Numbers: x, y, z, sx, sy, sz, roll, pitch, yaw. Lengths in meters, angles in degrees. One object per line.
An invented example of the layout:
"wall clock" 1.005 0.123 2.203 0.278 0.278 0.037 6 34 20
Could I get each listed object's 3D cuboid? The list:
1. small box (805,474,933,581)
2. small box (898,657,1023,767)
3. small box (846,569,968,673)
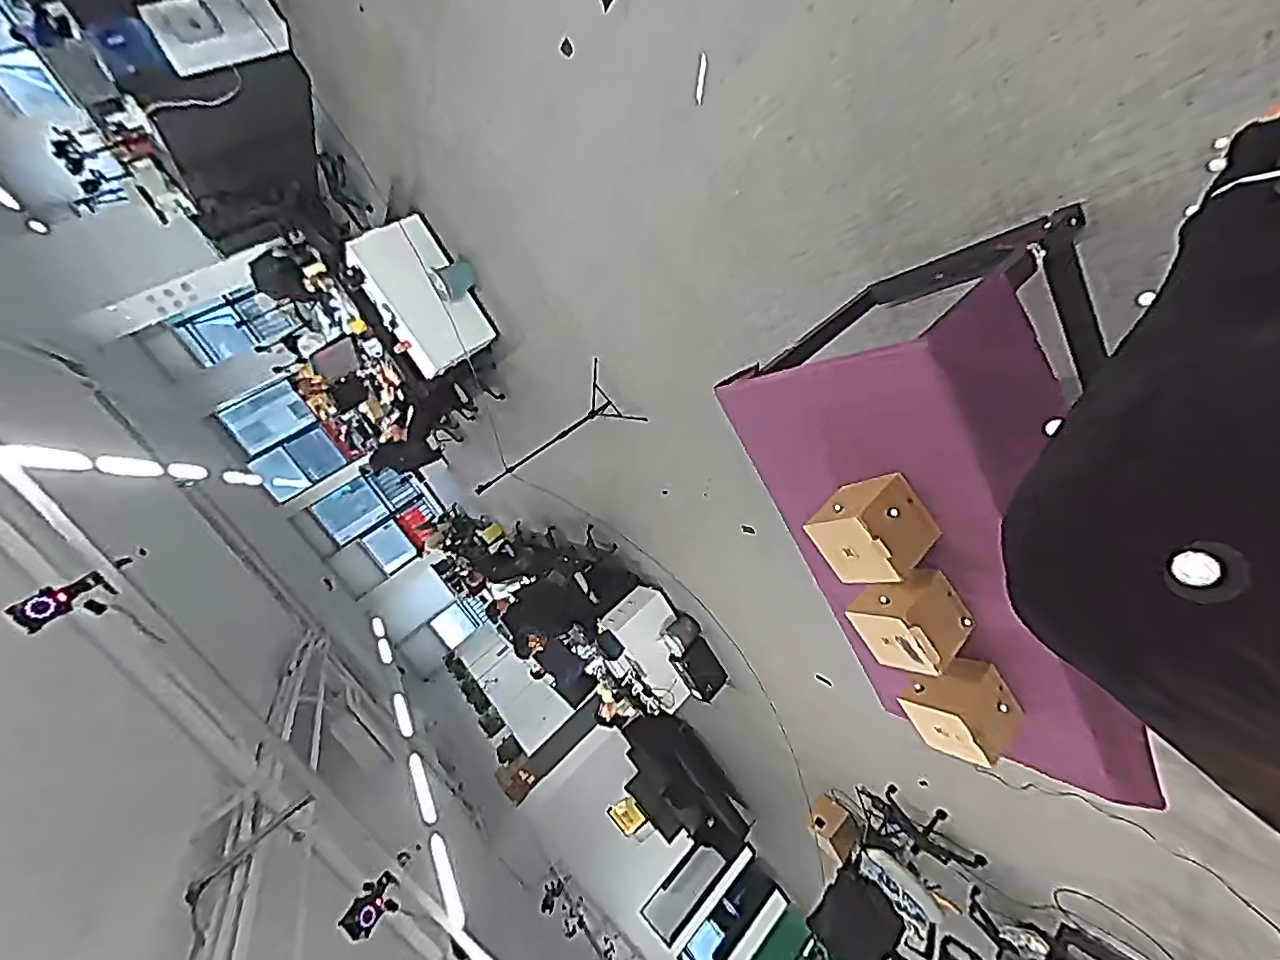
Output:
"small box" 0.511 0.106 1.194 0.168 0.176 0.179 54 157 -4
"small box" 0.787 0.555 1.329 0.168 0.176 0.179 55 156 -8
"small box" 0.635 0.323 1.274 0.168 0.176 0.179 55 157 -6
